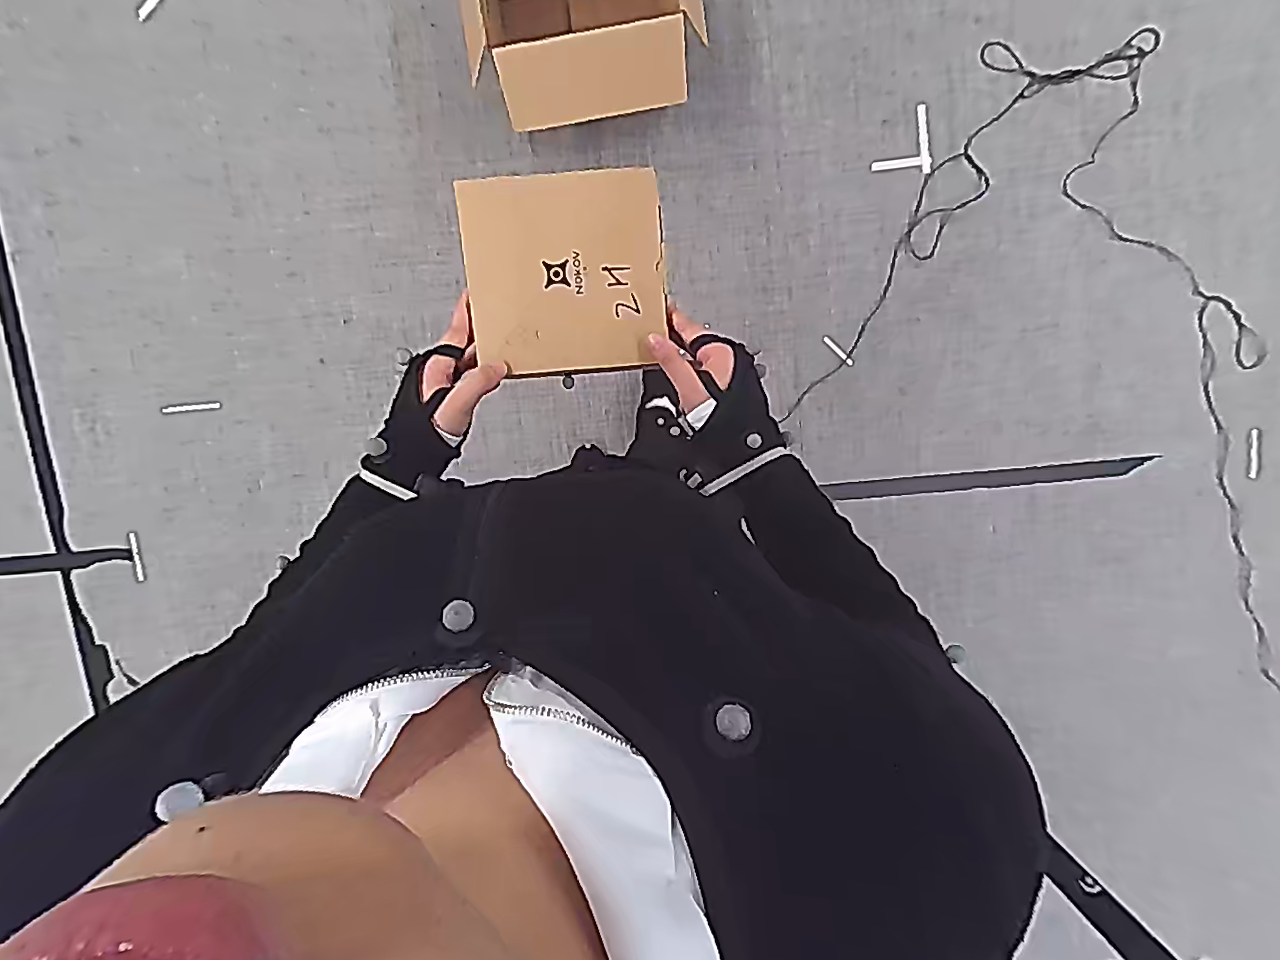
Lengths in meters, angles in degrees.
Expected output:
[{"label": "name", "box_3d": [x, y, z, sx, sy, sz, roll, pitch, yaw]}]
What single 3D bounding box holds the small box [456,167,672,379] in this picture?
[{"label": "small box", "box_3d": [-0.066, -0.191, 0.544, 0.179, 0.176, 0.168, -5, 101, -2]}]
